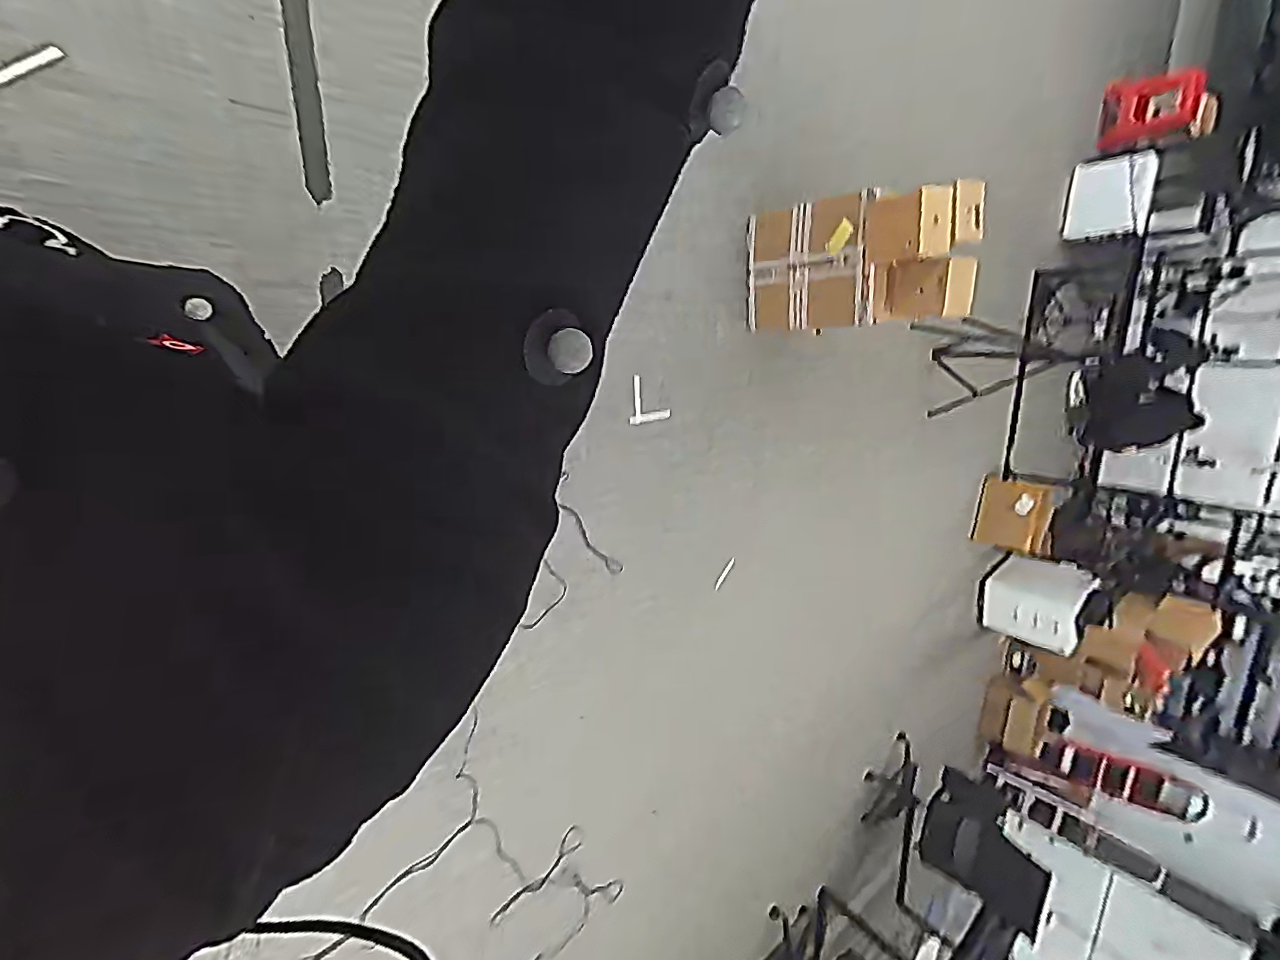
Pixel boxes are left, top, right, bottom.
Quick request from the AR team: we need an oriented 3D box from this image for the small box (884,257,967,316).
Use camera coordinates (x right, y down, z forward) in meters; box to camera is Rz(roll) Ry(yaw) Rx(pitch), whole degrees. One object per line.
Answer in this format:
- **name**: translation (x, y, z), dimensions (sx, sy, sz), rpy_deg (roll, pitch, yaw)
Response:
- **small box**: translation (0.902, -0.608, 1.707), dimensions (0.179, 0.176, 0.168), rpy_deg (-14, 112, -35)

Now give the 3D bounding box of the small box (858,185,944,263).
- **small box**: translation (0.752, -0.738, 1.567), dimensions (0.168, 0.176, 0.179), rpy_deg (-20, 113, -31)
